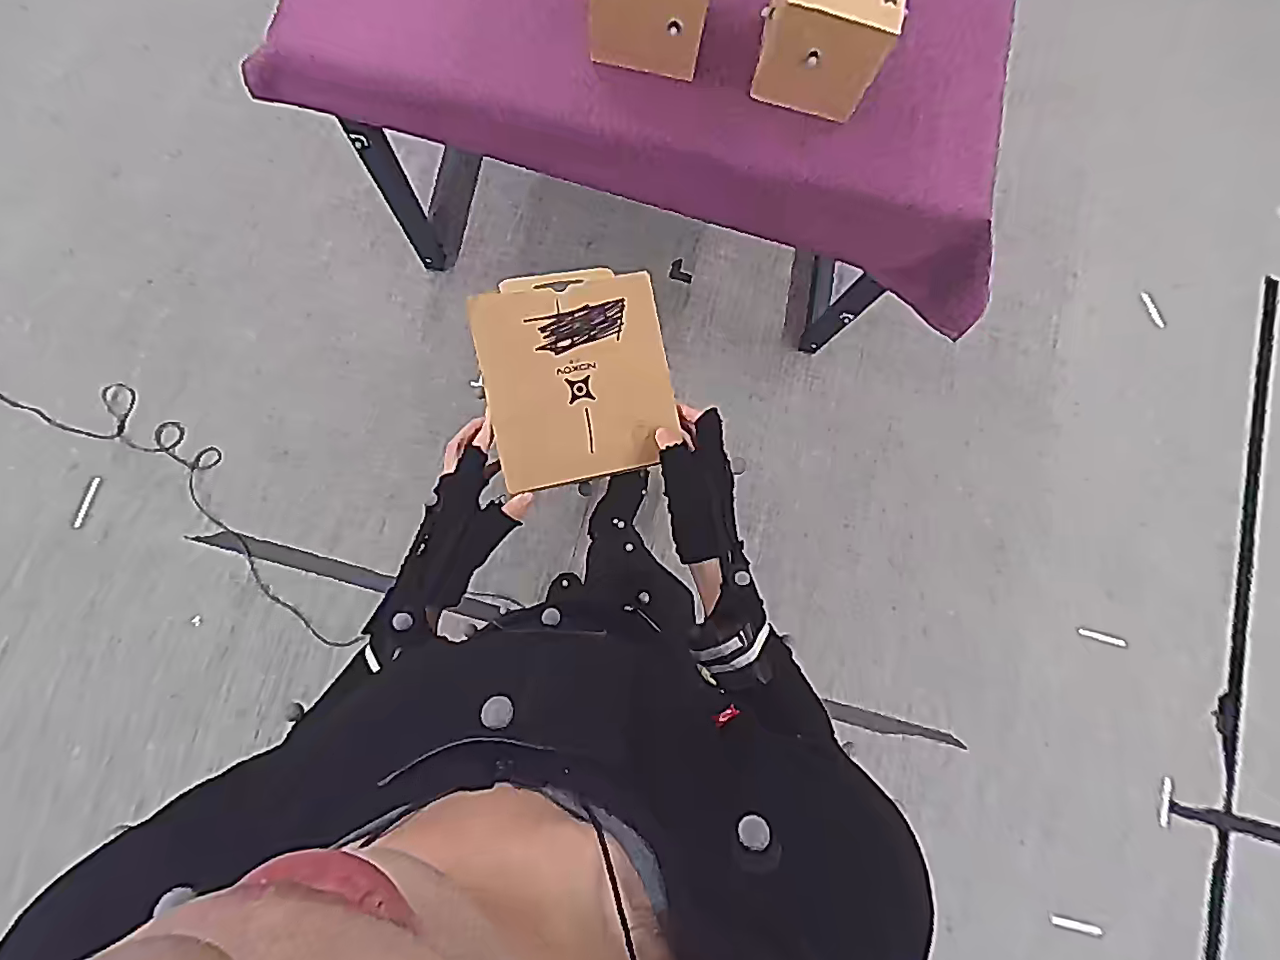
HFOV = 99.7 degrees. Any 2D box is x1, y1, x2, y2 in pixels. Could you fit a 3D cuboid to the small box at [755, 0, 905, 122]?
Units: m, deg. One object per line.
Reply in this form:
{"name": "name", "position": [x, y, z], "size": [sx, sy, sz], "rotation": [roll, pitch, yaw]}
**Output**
{"name": "small box", "position": [0.296, -0.715, 0.859], "size": [0.179, 0.176, 0.168], "rotation": [12, 82, -3]}

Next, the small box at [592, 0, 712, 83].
{"name": "small box", "position": [0.022, -0.768, 0.842], "size": [0.179, 0.176, 0.168], "rotation": [8, 80, -3]}

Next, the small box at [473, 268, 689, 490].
{"name": "small box", "position": [-0.065, -0.091, 0.557], "size": [0.168, 0.176, 0.179], "rotation": [-13, 90, -10]}
